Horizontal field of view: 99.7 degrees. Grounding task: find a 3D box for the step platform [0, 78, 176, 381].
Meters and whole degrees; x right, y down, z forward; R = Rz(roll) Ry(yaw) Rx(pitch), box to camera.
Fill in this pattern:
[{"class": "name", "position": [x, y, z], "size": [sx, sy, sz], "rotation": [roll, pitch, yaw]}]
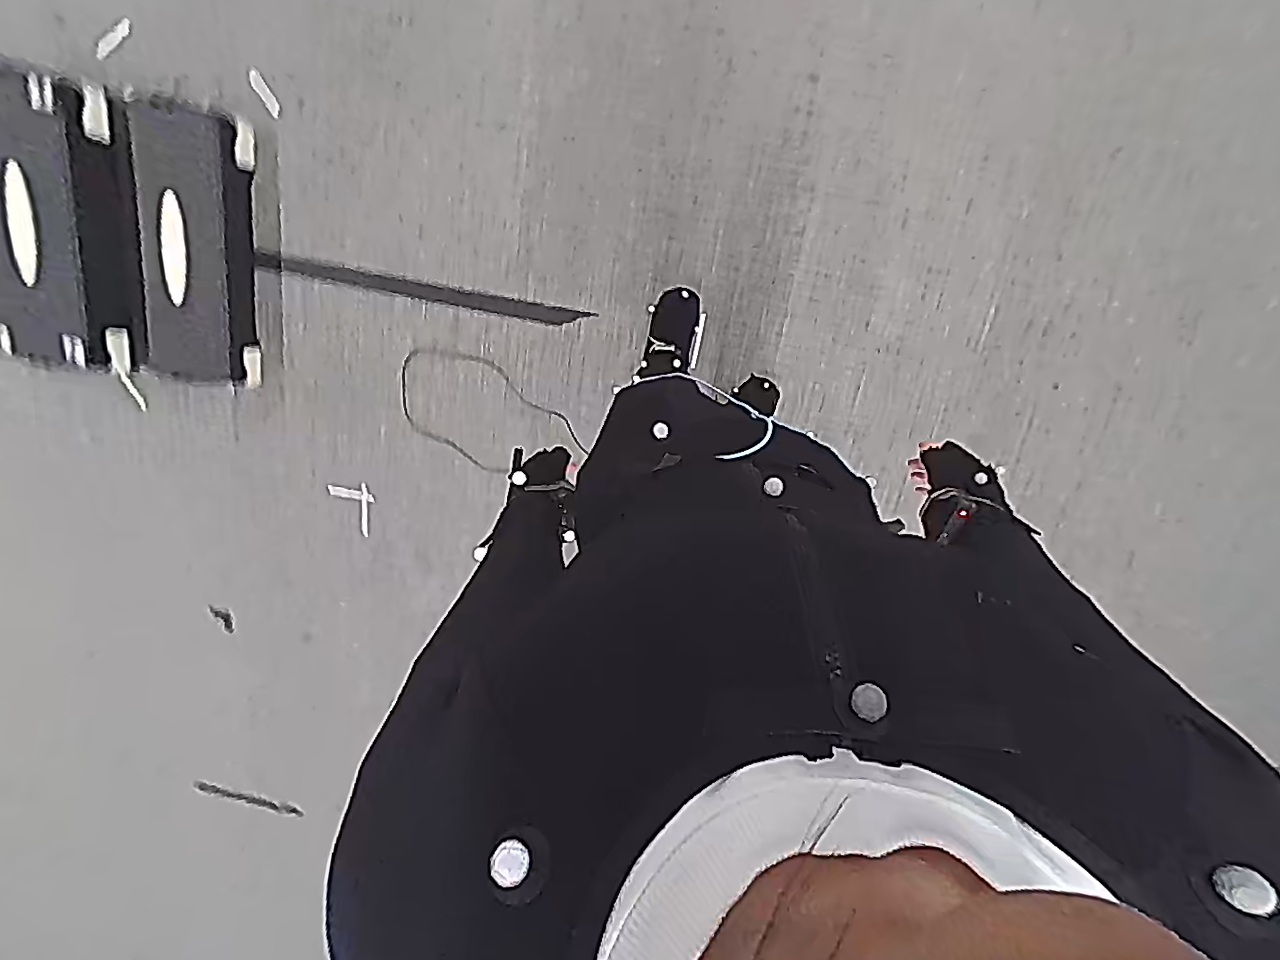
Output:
[{"class": "step platform", "position": [-1.415, -0.599, 1.370], "size": [0.286, 0.204, 0.684], "rotation": [10, 105, 3]}]
